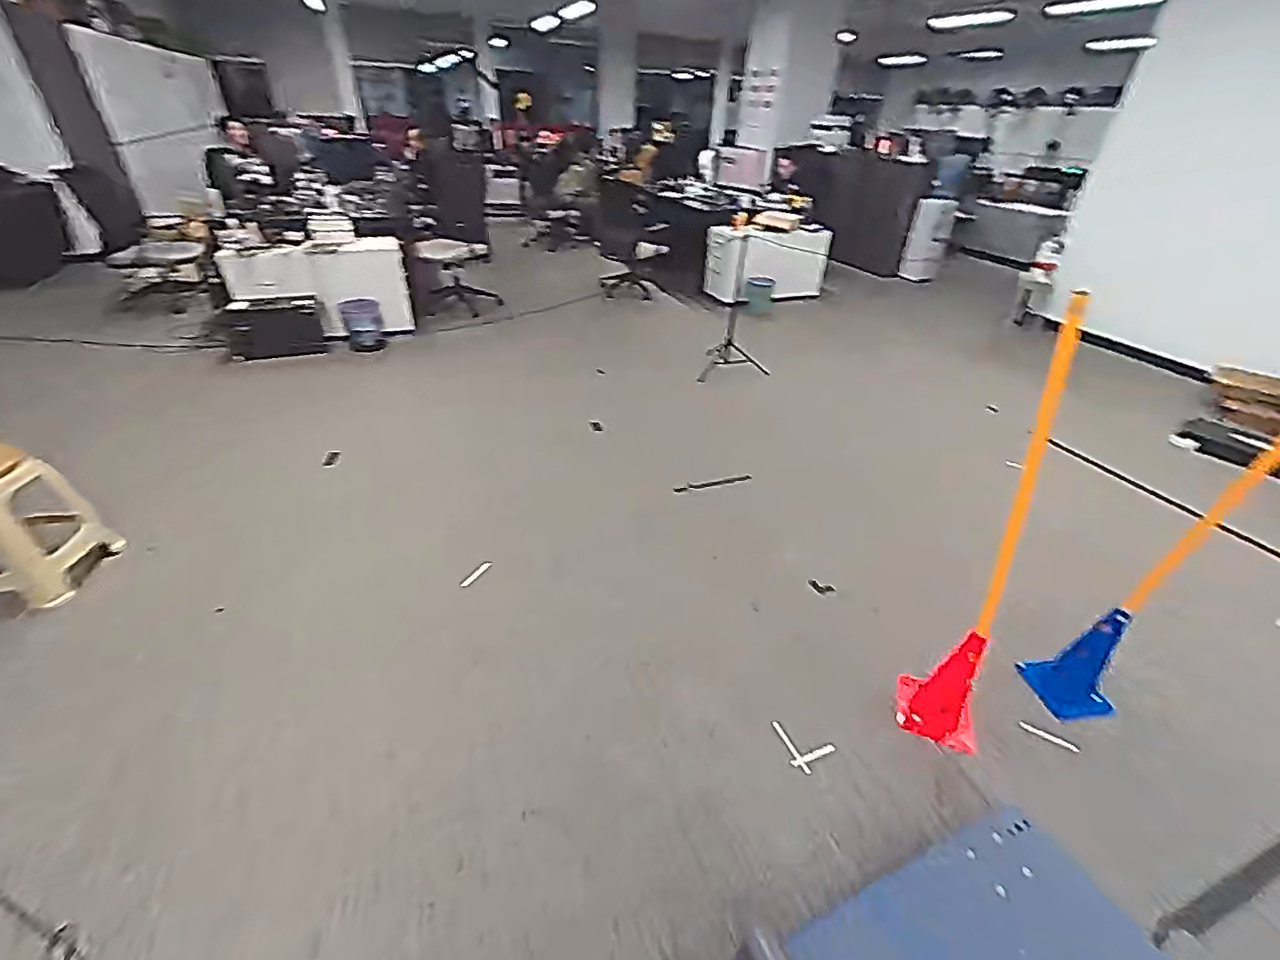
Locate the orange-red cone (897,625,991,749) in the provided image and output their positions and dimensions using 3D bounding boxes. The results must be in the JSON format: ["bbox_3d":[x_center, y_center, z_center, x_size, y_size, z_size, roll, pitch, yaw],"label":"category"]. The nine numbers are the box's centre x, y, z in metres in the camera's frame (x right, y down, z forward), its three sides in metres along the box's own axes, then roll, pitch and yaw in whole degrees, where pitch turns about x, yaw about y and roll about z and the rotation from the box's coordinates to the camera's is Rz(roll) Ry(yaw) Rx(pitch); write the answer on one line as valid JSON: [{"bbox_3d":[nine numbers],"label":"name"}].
[{"bbox_3d":[0.867,0.526,1.477,0.199,0.360,0.198,17,37,17],"label":"orange-red cone"}]

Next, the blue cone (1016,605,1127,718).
[{"bbox_3d":[1.301,0.501,1.568,0.192,0.380,0.193,-3,35,-7],"label":"blue cone"}]
